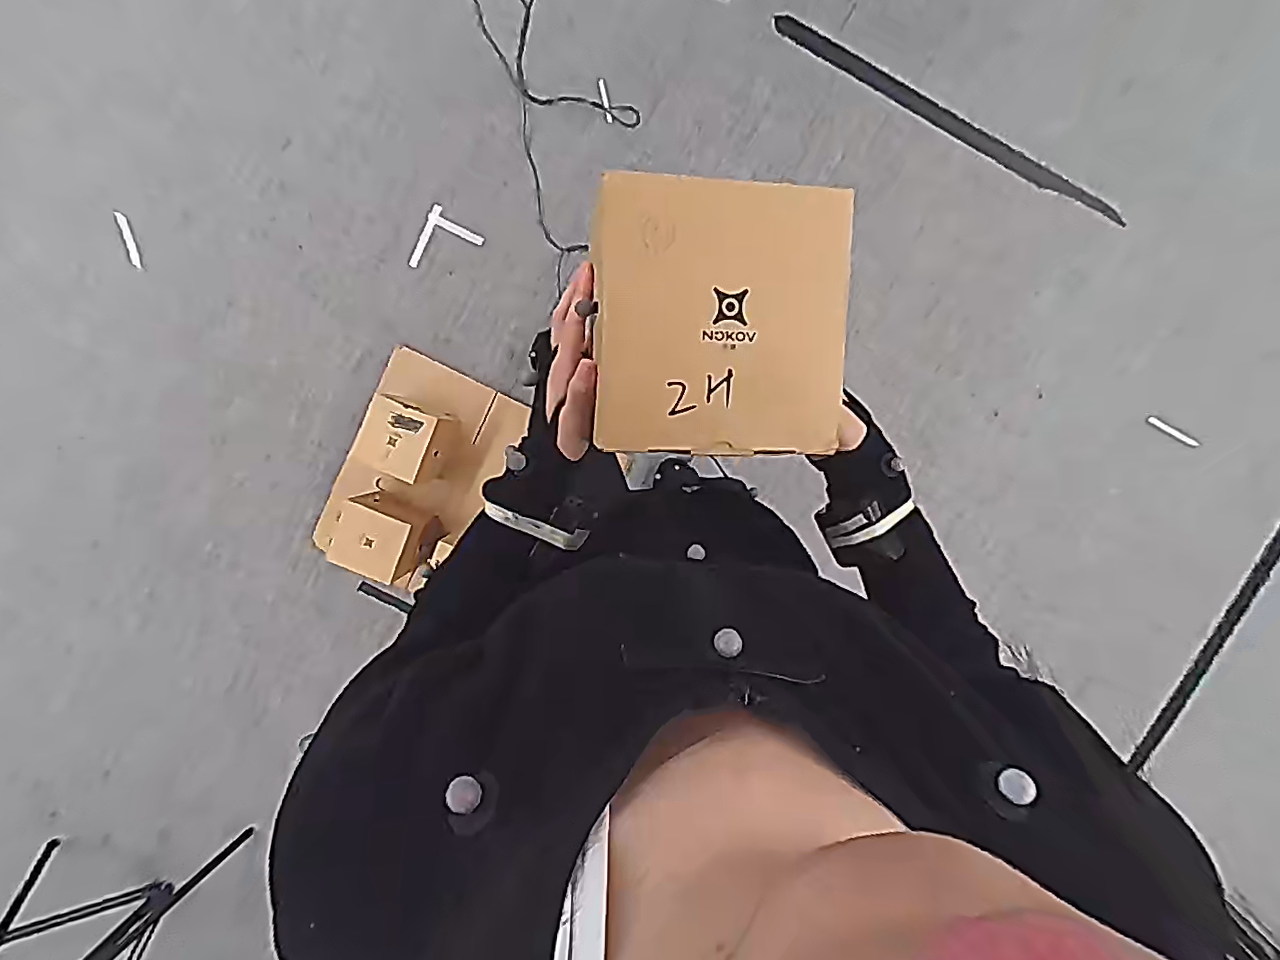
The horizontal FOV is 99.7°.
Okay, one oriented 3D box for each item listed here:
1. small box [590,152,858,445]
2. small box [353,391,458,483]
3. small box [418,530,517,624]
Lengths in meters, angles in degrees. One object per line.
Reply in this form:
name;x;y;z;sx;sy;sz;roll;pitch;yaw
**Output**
small box;0.047;-0.120;0.423;0.168;0.176;0.179;0;98;-7
small box;-0.586;-0.110;1.377;0.168;0.176;0.179;23;95;-2
small box;-0.437;0.243;1.406;0.179;0.176;0.168;22;94;-3
